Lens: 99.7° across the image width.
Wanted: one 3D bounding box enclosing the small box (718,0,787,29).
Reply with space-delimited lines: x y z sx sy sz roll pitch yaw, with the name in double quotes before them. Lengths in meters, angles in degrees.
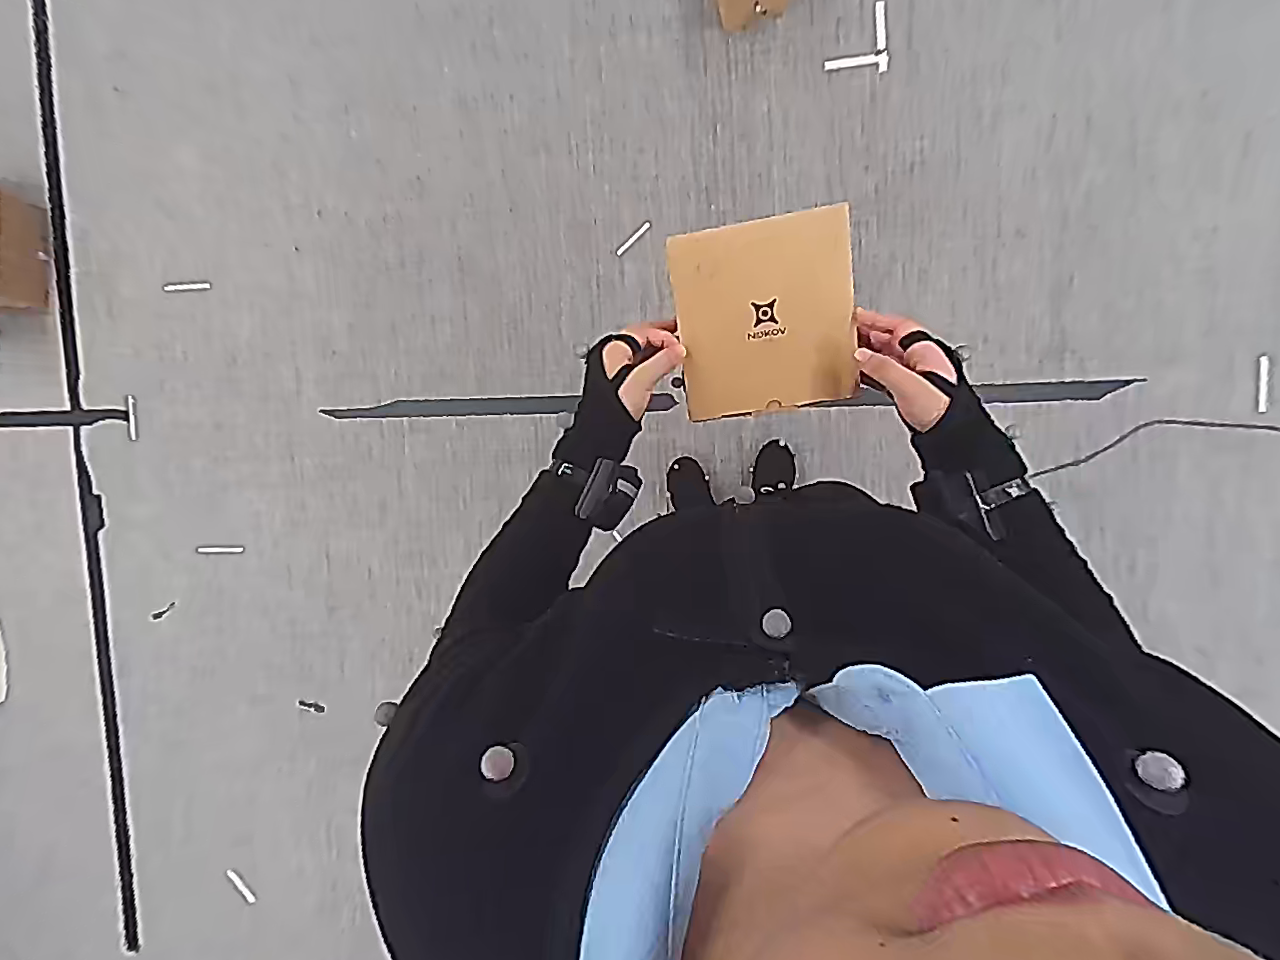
"small box" 0.271 -1.276 1.325 0.168 0.176 0.179 -13 92 7
